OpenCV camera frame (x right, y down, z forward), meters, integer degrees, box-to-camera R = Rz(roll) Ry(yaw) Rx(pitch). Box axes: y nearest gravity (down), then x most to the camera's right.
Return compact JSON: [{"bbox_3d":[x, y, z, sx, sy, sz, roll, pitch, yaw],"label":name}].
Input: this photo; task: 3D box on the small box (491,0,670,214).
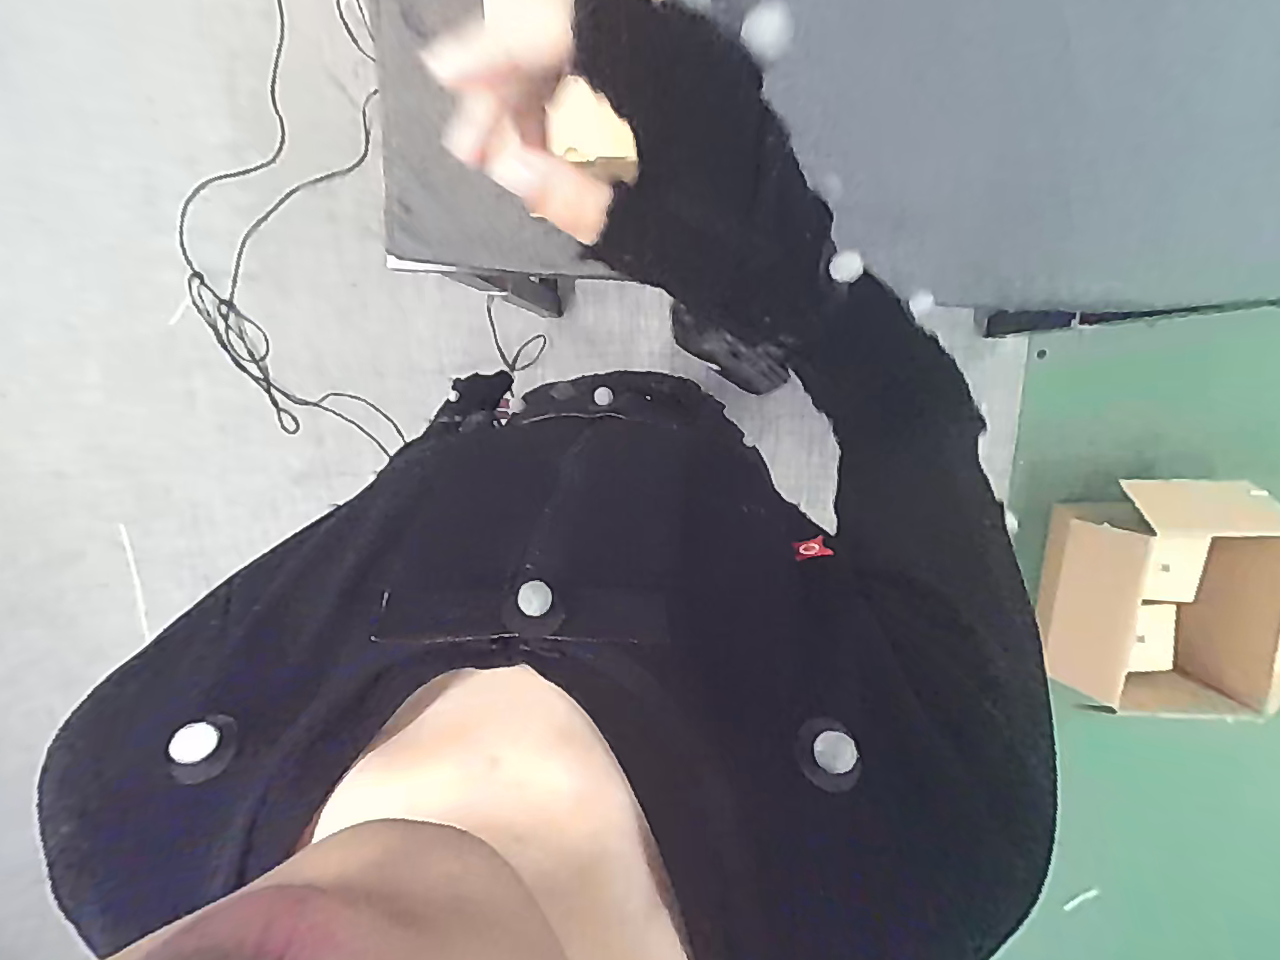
[{"bbox_3d":[-0.054,-0.407,0.581,0.168,0.176,0.179,2,100,3],"label":"small box"}]
